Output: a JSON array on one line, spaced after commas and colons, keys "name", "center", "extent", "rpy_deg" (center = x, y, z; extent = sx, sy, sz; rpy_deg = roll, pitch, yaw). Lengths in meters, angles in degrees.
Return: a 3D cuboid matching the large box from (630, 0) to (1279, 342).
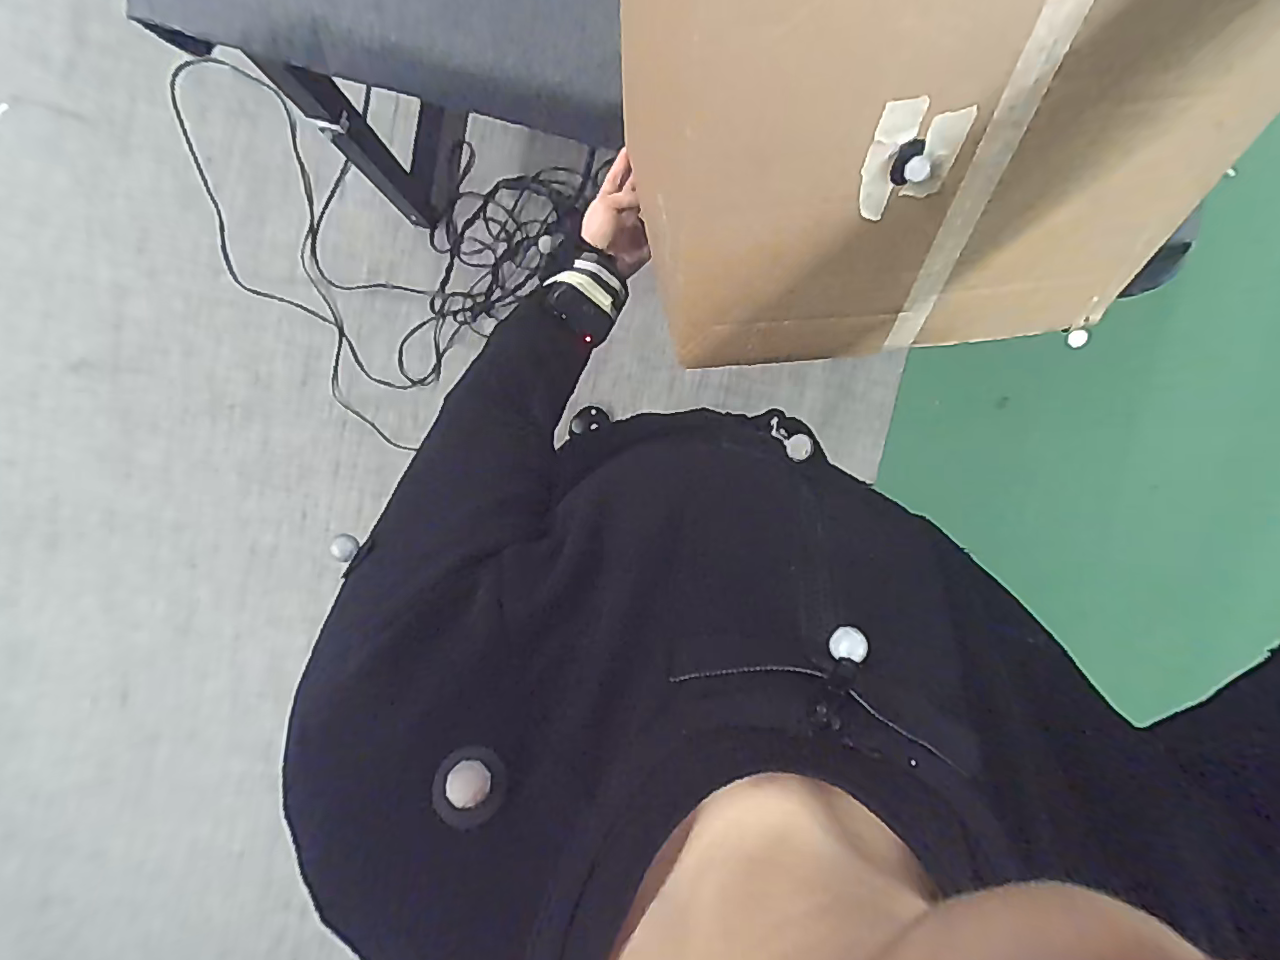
[{"name": "large box", "center": [0.160, -0.351, 0.312], "extent": [0.320, 0.408, 0.320], "rpy_deg": [-7, 58, -3]}]
